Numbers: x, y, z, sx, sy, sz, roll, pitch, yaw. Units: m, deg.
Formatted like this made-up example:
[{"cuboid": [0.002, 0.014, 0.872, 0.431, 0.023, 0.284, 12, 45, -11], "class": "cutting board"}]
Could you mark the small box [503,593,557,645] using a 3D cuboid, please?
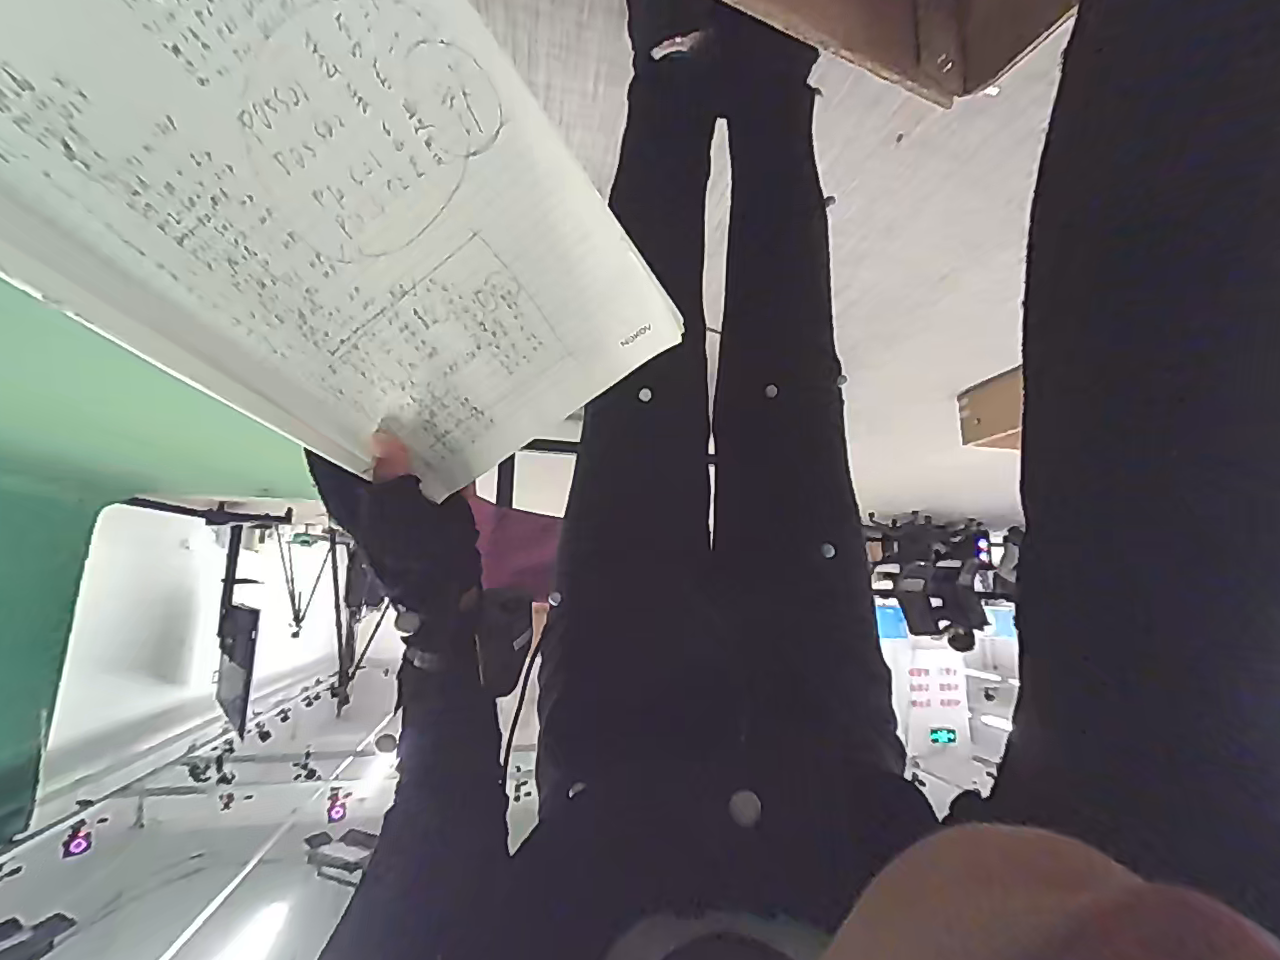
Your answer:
[{"cuboid": [-0.392, 0.492, 1.932, 0.168, 0.176, 0.179, 4, 170, -19], "class": "small box"}]
